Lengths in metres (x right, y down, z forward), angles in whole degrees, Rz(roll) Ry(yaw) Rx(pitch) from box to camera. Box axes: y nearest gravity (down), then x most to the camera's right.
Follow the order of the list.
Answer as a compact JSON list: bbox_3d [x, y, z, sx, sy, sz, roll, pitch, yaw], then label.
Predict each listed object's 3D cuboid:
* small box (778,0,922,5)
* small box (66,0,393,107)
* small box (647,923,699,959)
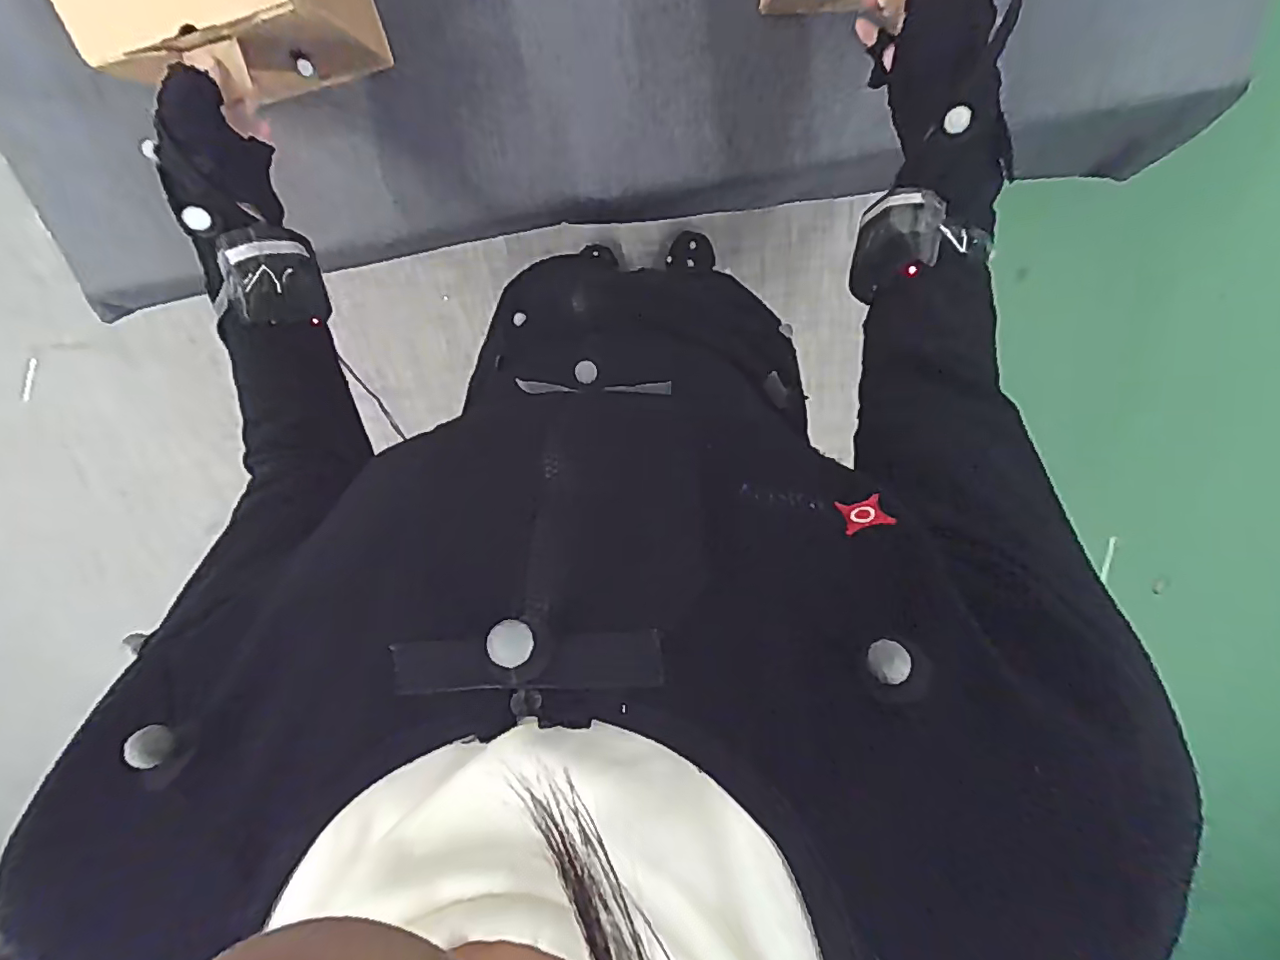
[{"bbox_3d":[0.181,-0.467,0.382,0.168,0.176,0.179,-1,118,2],"label":"small box"},{"bbox_3d":[-0.331,-0.422,0.428,0.168,0.176,0.179,-12,114,6],"label":"small box"},{"bbox_3d":[0.125,1.768,1.984,0.179,0.176,0.168,-8,110,7],"label":"small box"}]
